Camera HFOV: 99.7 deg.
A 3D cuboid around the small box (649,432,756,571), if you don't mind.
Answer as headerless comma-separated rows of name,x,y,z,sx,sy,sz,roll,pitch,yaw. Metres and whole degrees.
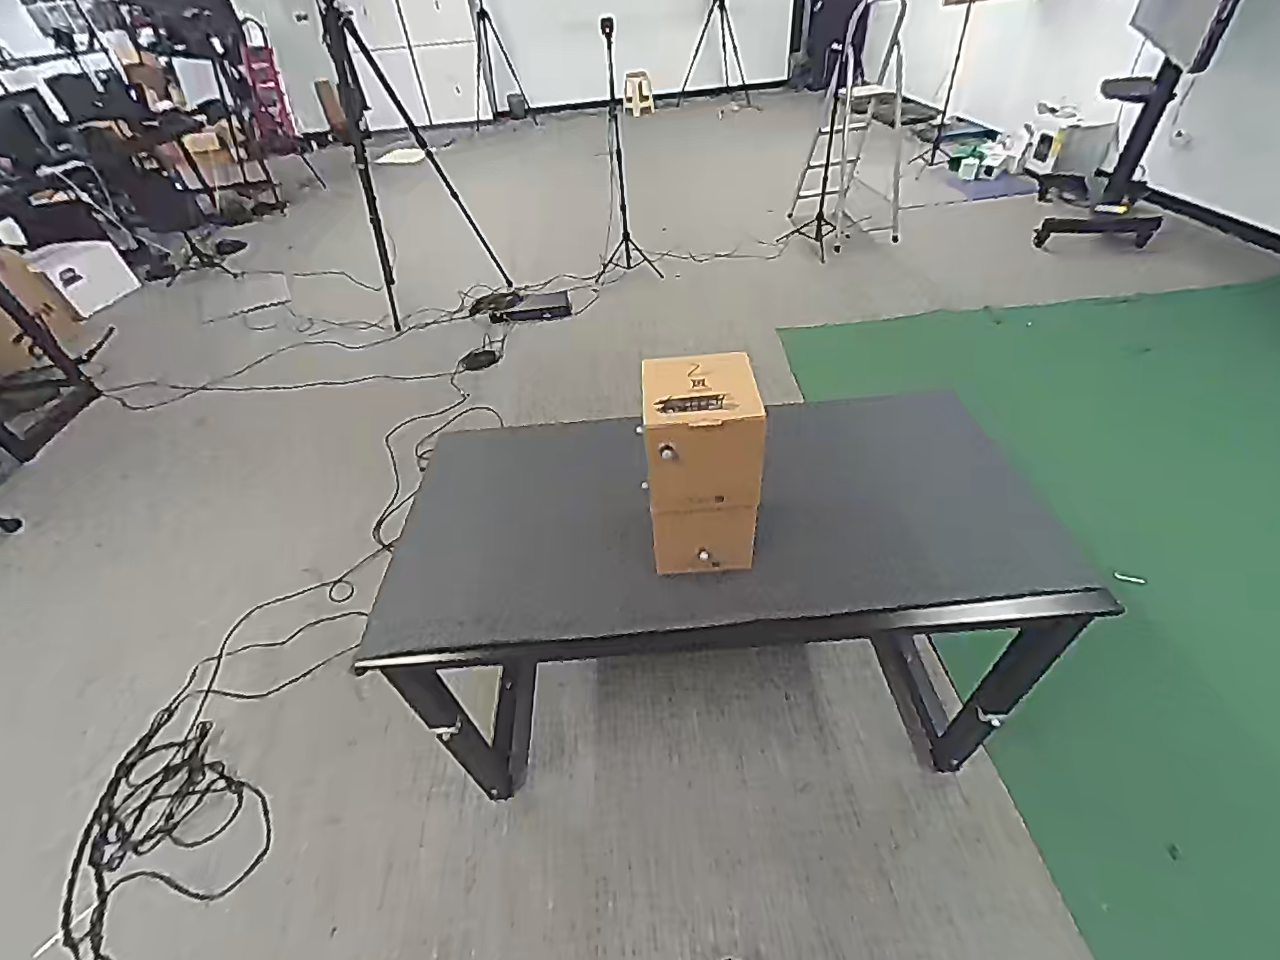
small box,0.102,0.037,0.943,0.168,0.176,0.179,-4,42,3
